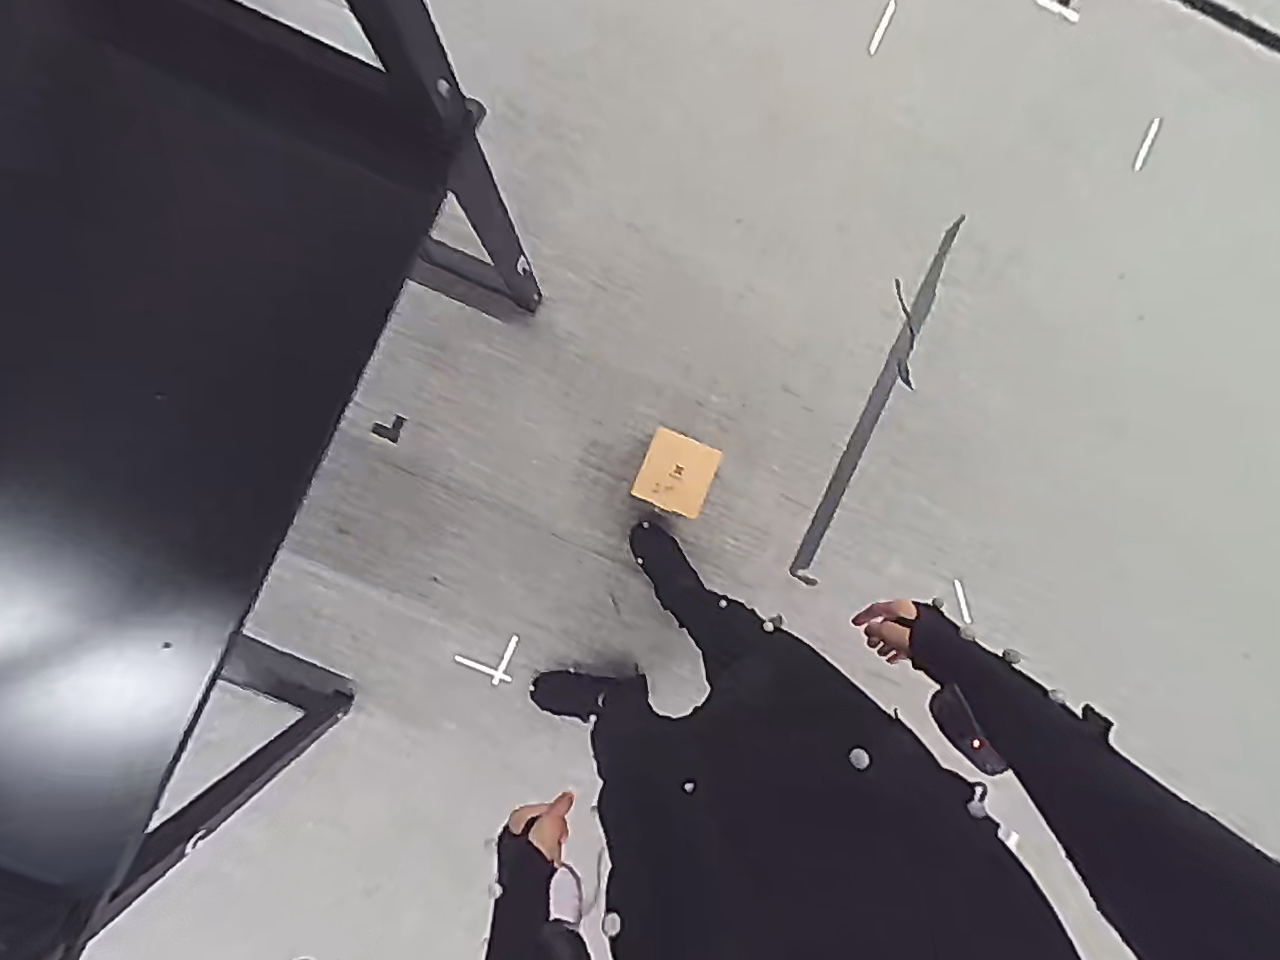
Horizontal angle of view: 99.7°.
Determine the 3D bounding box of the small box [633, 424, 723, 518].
[{"bbox_3d":[0.084,-0.021,1.335,0.168,0.176,0.179,22,90,-2],"label":"small box"}]
